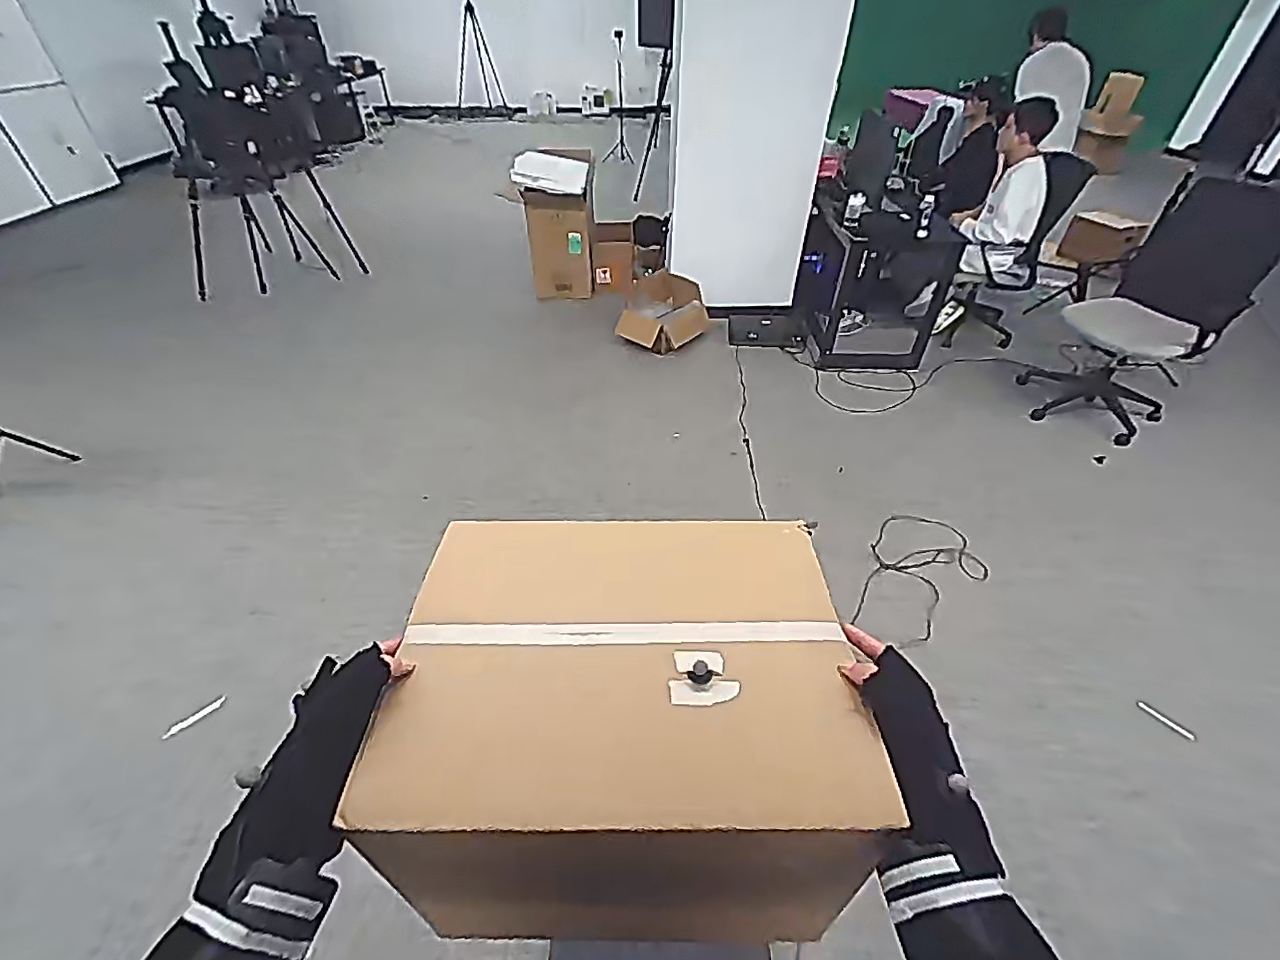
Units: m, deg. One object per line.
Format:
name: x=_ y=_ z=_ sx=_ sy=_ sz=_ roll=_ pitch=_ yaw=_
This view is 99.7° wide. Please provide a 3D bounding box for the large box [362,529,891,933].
large box: x=-0.012 y=0.269 z=0.606 sx=0.408 sy=0.320 sz=0.320 roll=0 pitch=39 yaw=0
